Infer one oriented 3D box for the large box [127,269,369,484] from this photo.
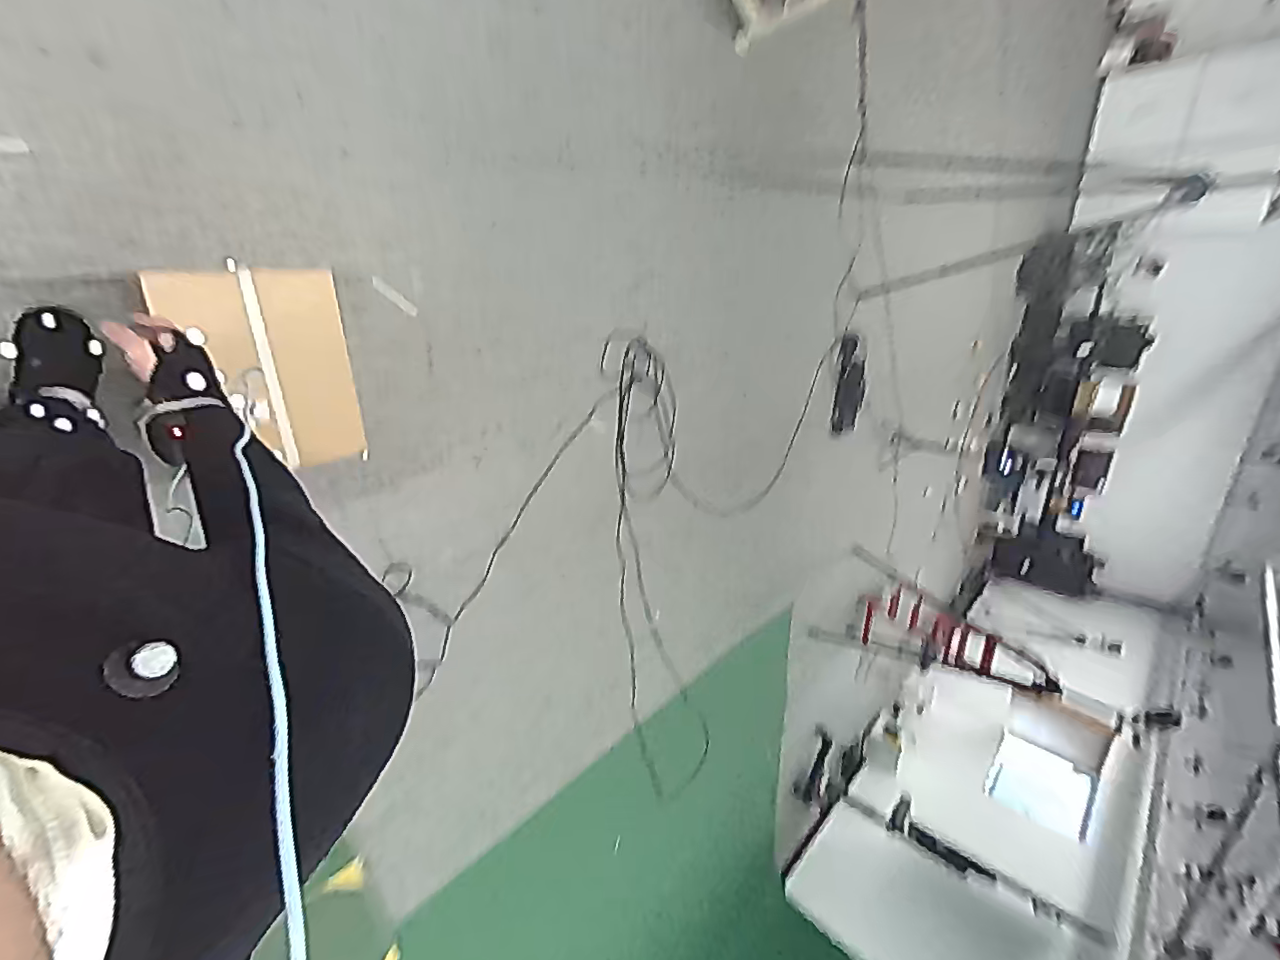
[{"bbox_3d":[-0.864,-0.252,1.211,0.320,0.320,0.408,-21,119,-41],"label":"large box"}]
